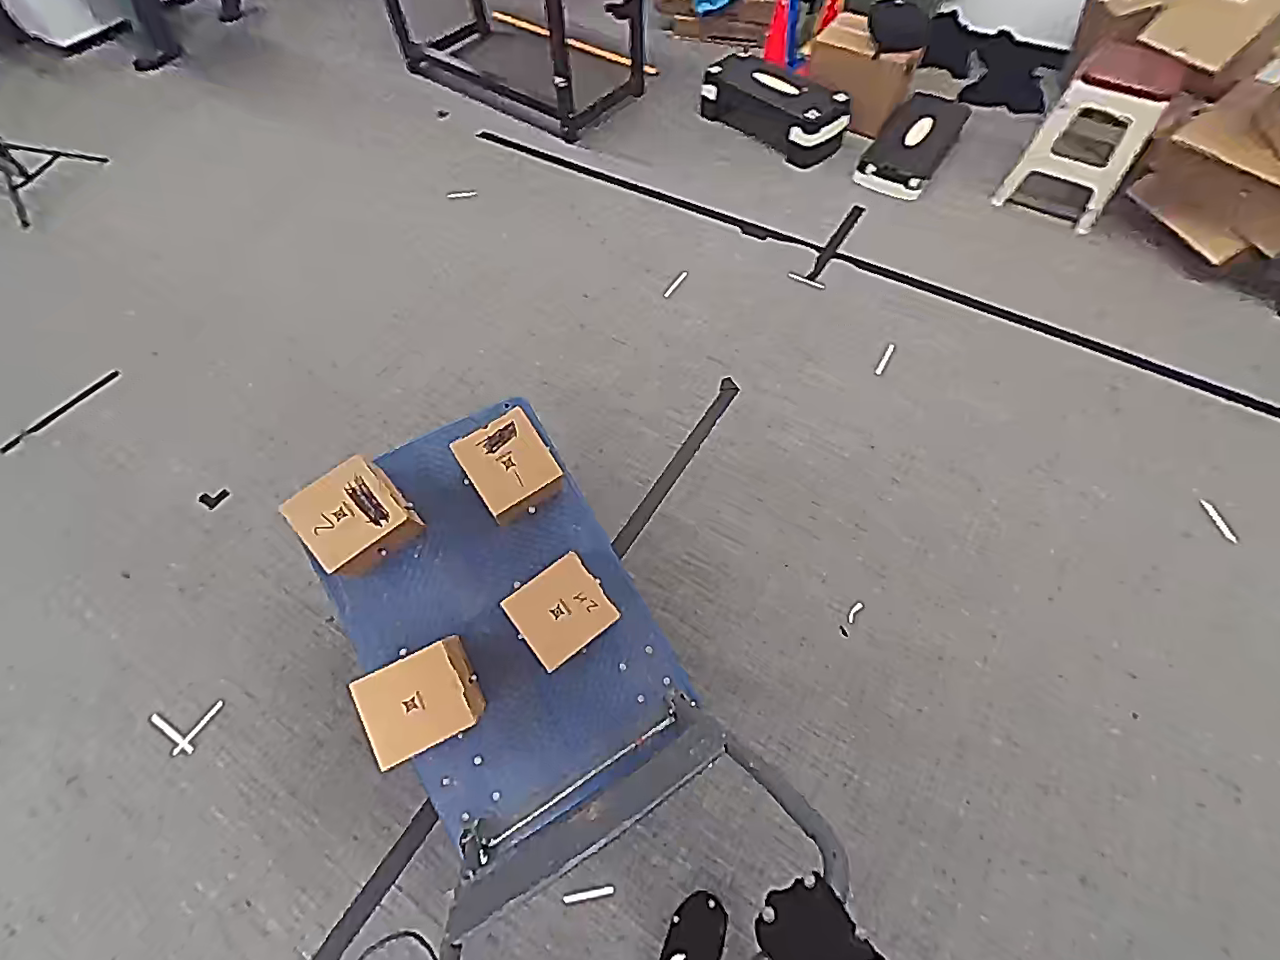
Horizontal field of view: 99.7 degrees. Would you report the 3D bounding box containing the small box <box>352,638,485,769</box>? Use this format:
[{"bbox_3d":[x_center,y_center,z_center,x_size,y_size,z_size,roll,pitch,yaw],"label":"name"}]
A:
[{"bbox_3d":[-0.422,0.425,1.057,0.179,0.176,0.168,-25,82,-15],"label":"small box"}]

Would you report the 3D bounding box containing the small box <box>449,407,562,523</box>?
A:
[{"bbox_3d":[-0.288,-0.024,1.179,0.168,0.176,0.179,-33,85,-14],"label":"small box"}]

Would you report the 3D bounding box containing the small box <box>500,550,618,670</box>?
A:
[{"bbox_3d":[-0.167,0.269,1.132,0.179,0.176,0.168,-36,85,-14],"label":"small box"}]
